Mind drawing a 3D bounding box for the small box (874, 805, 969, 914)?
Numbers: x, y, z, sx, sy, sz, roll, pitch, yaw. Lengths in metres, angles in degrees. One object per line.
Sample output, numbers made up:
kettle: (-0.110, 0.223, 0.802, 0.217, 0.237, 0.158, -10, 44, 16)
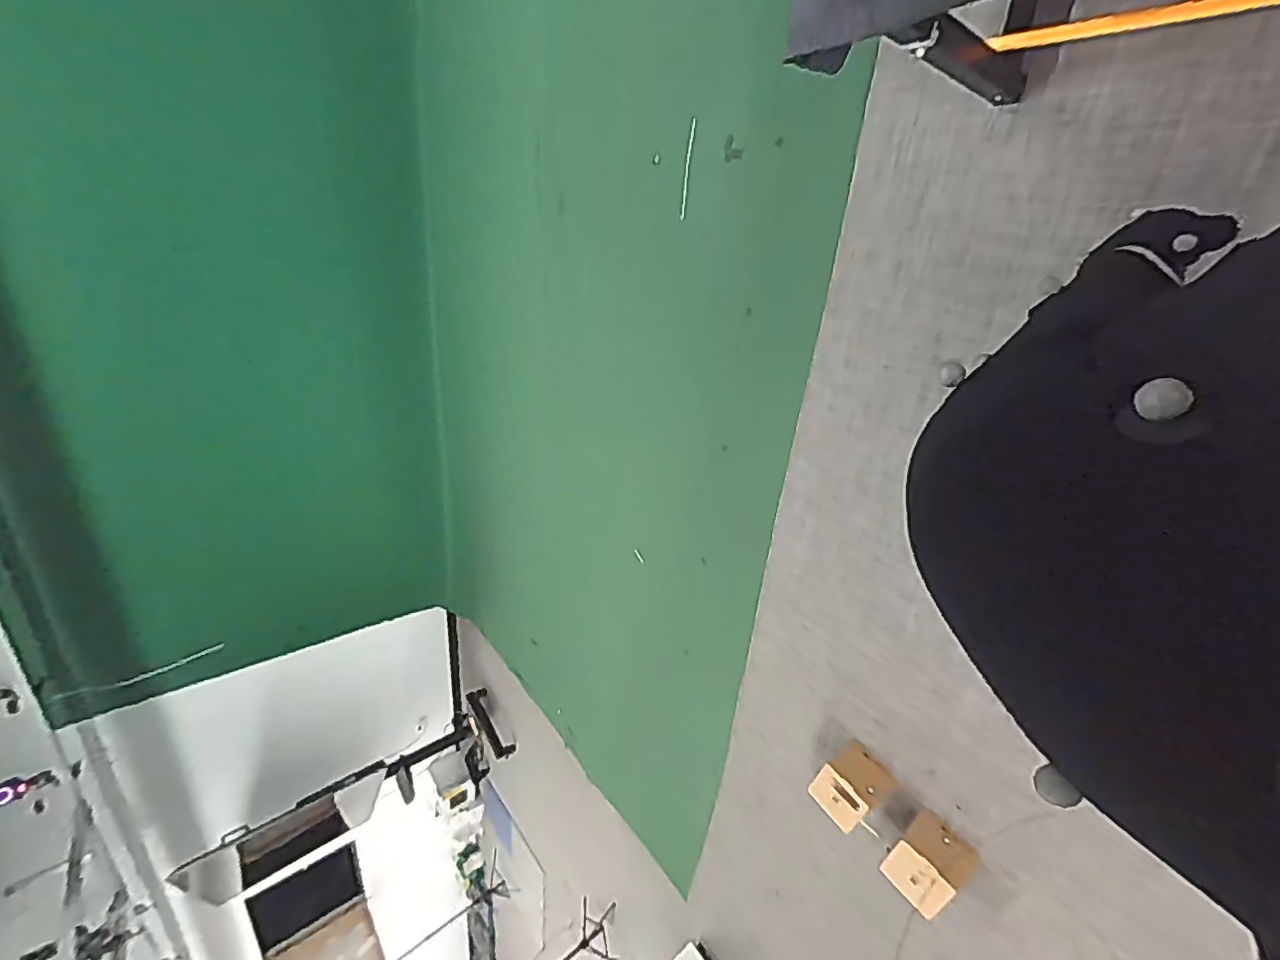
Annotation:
small box: (0.838, 1.119, 1.603, 0.168, 0.176, 0.179, 38, 127, 37)
